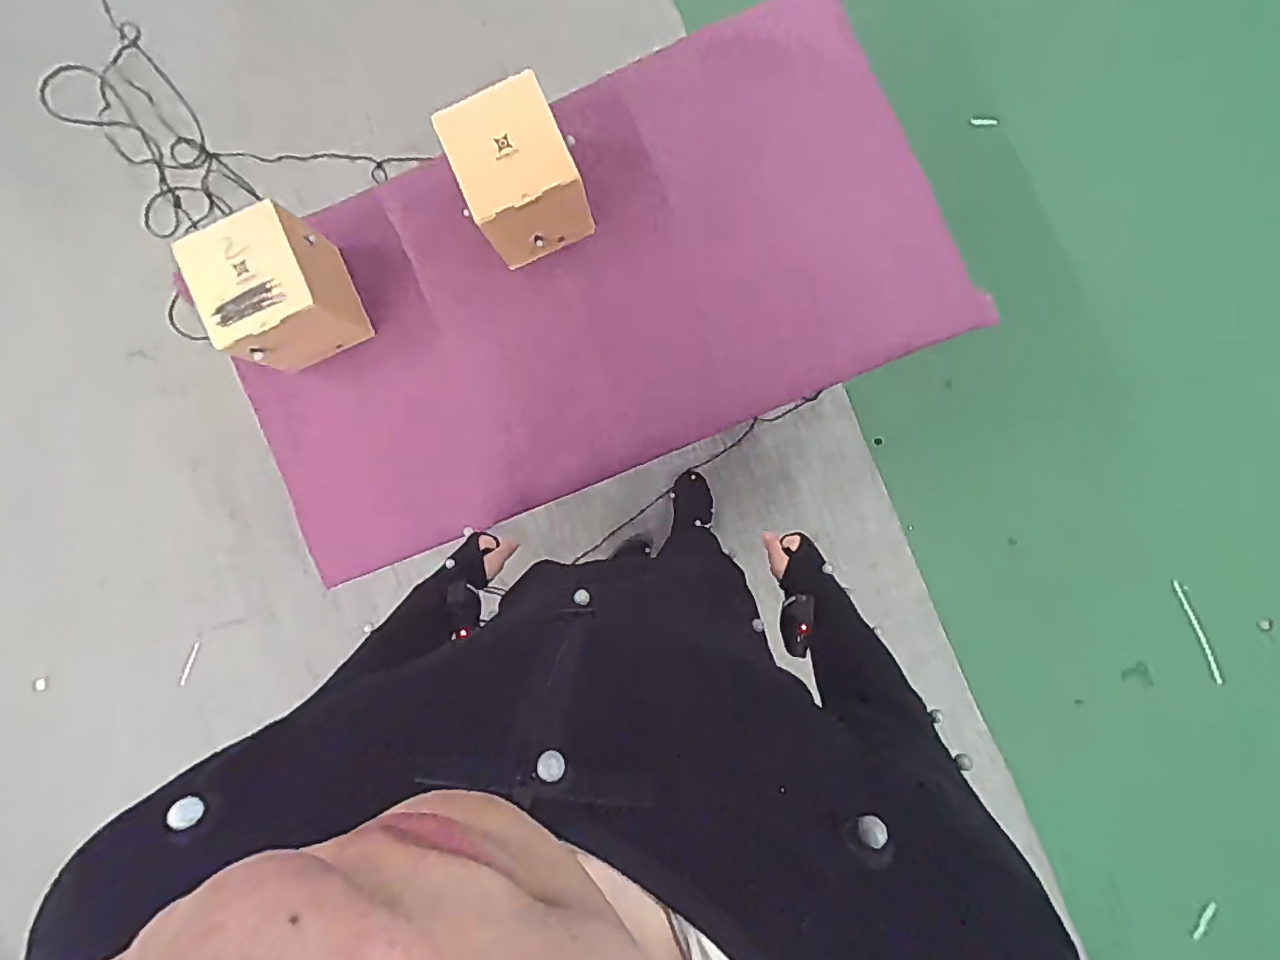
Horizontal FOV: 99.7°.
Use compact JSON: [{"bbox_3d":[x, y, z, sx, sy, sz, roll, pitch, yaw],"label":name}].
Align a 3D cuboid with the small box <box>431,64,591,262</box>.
[{"bbox_3d":[-0.190,-0.479,0.843,0.168,0.176,0.179,-24,90,2],"label":"small box"}]
